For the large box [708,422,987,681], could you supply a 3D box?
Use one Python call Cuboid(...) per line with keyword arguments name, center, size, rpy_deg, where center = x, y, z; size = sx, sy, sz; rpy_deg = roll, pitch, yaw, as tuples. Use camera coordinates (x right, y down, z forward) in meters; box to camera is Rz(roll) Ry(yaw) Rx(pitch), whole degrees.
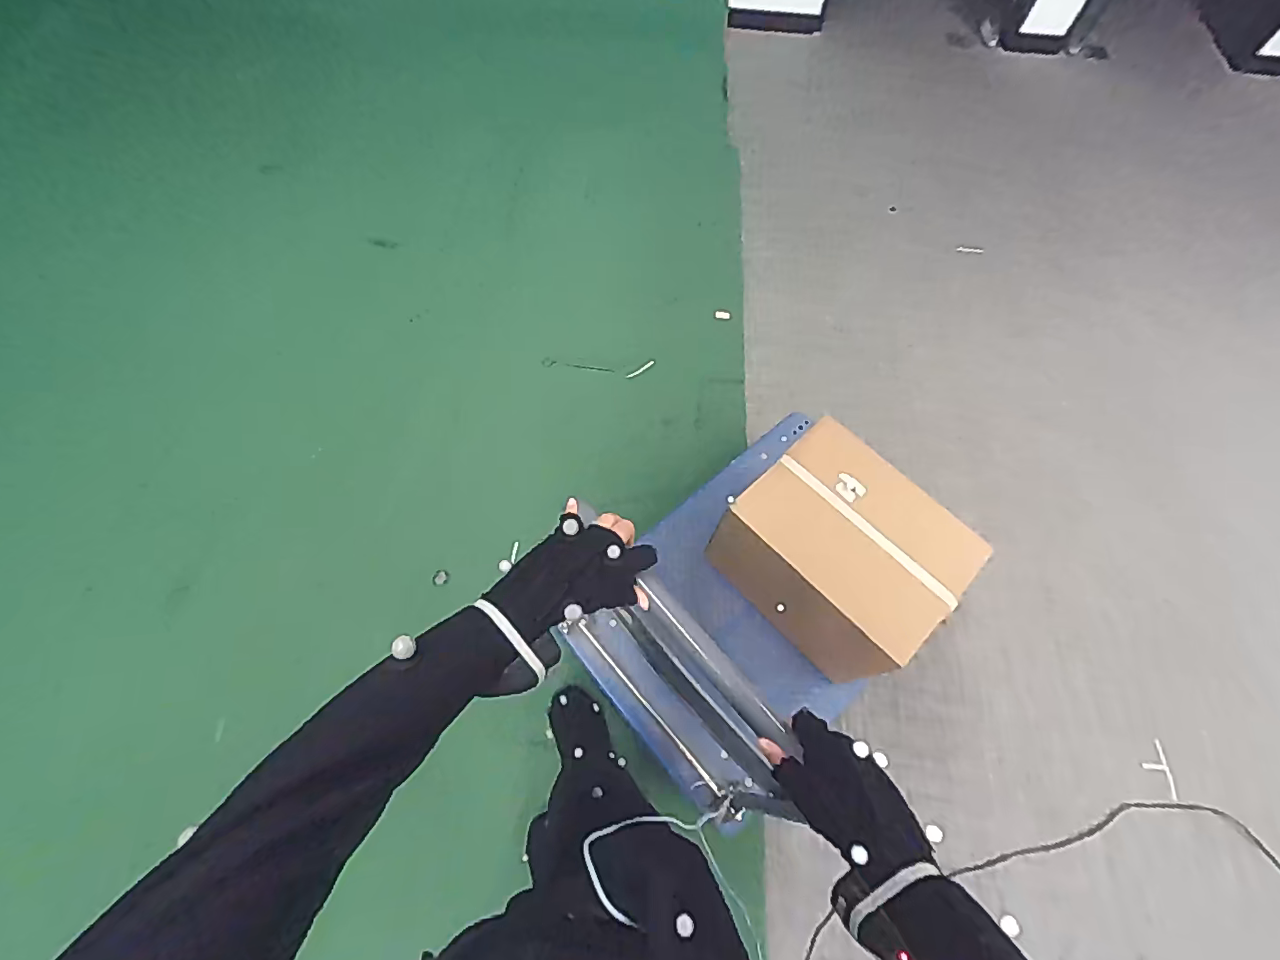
Cuboid(name="large box", center=(0.409, 0.162, 1.162), size=(0.320, 0.320, 0.408), rpy_deg=(-40, 71, -20))
